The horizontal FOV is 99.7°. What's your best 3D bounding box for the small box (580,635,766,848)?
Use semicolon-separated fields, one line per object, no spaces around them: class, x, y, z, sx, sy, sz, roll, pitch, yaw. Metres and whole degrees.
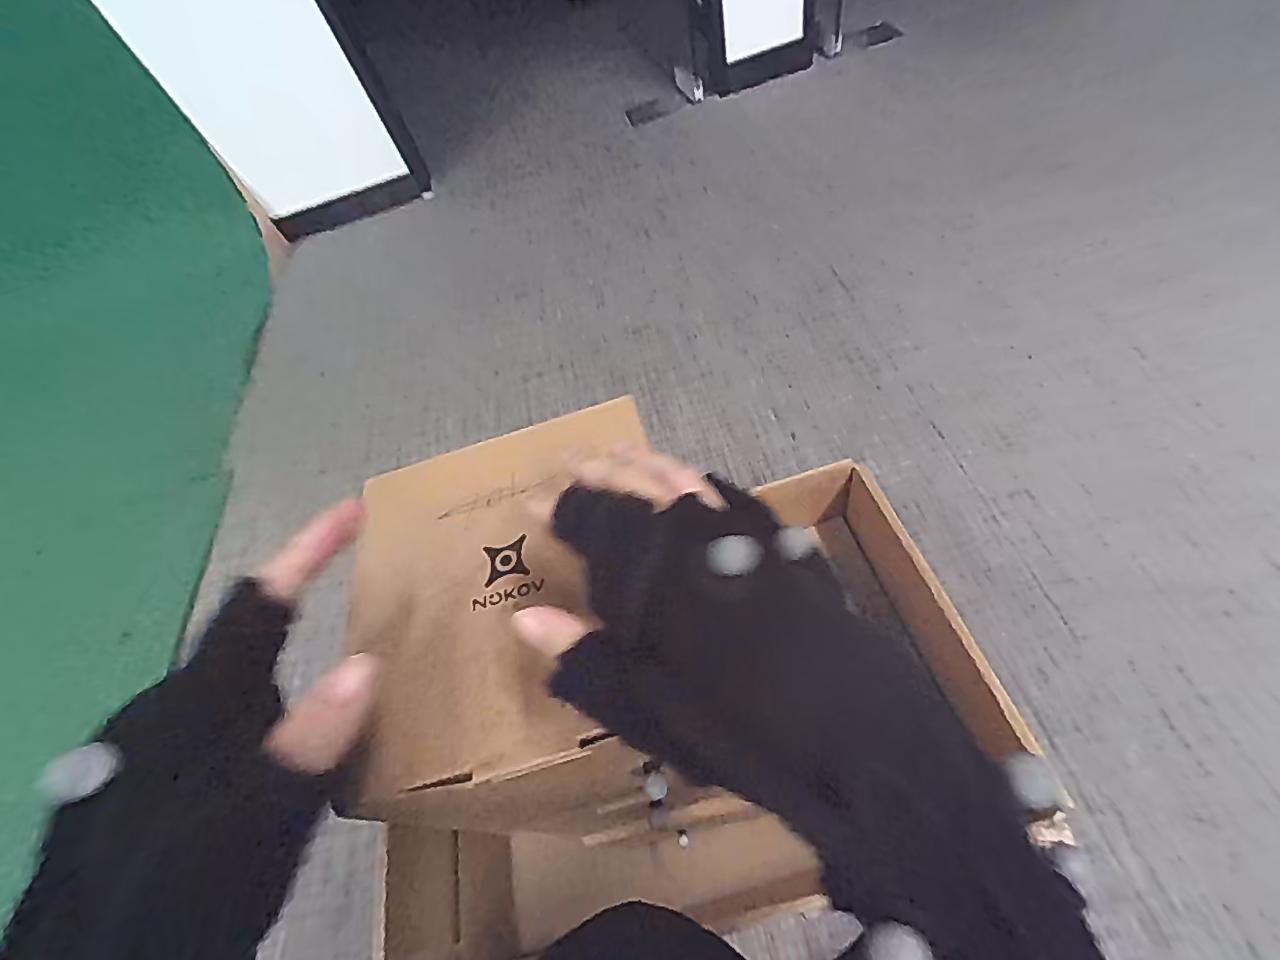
small box;0.034;0.295;0.600;0.179;0.176;0.168;-16;52;5
